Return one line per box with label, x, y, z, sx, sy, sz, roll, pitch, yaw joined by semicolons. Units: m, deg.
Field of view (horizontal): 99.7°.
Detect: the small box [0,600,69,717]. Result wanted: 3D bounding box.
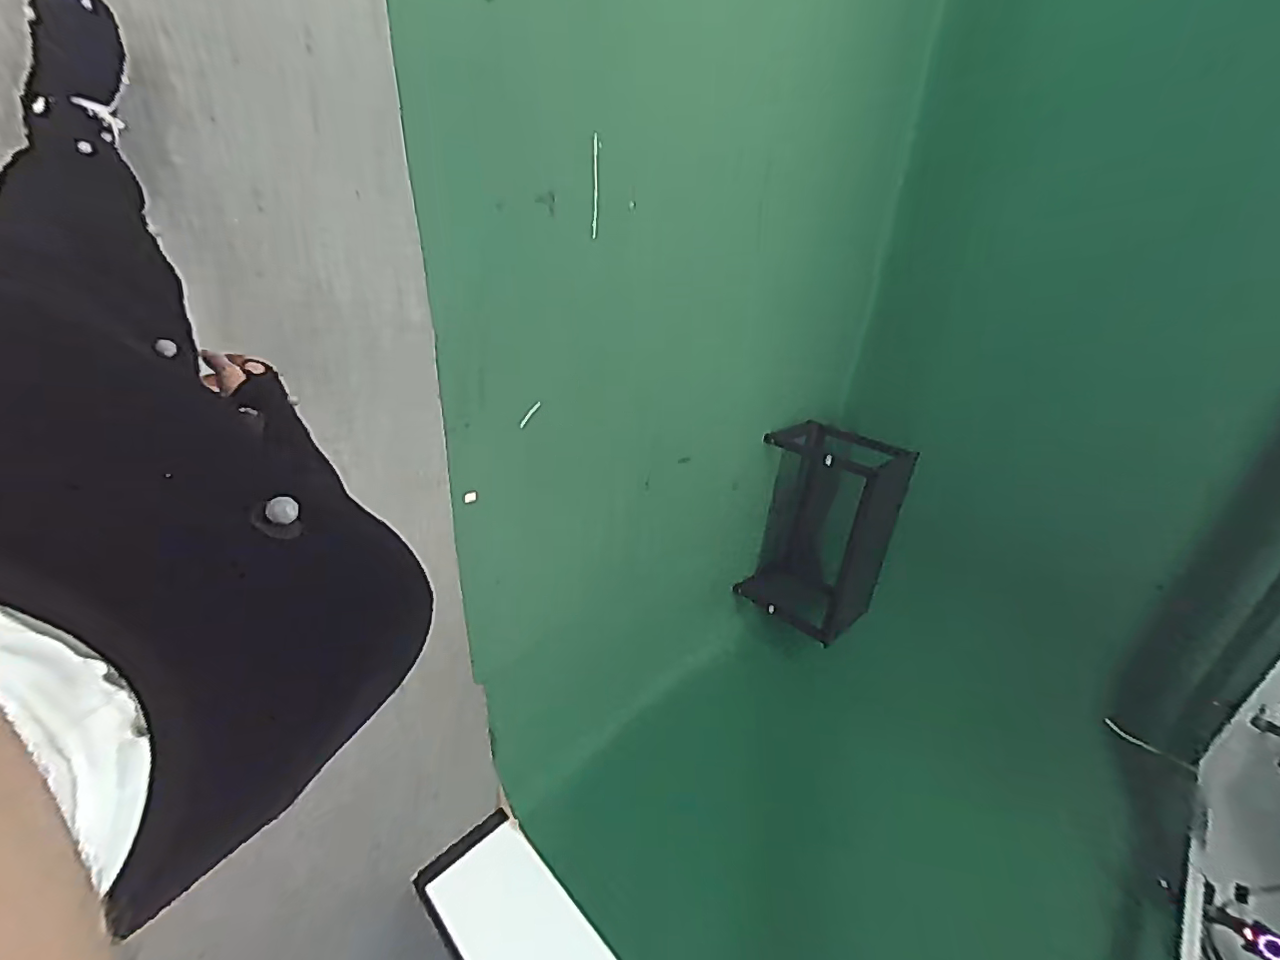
small box;-1.375;0.389;1.160;0.179;0.176;0.168;-18;125;-42
